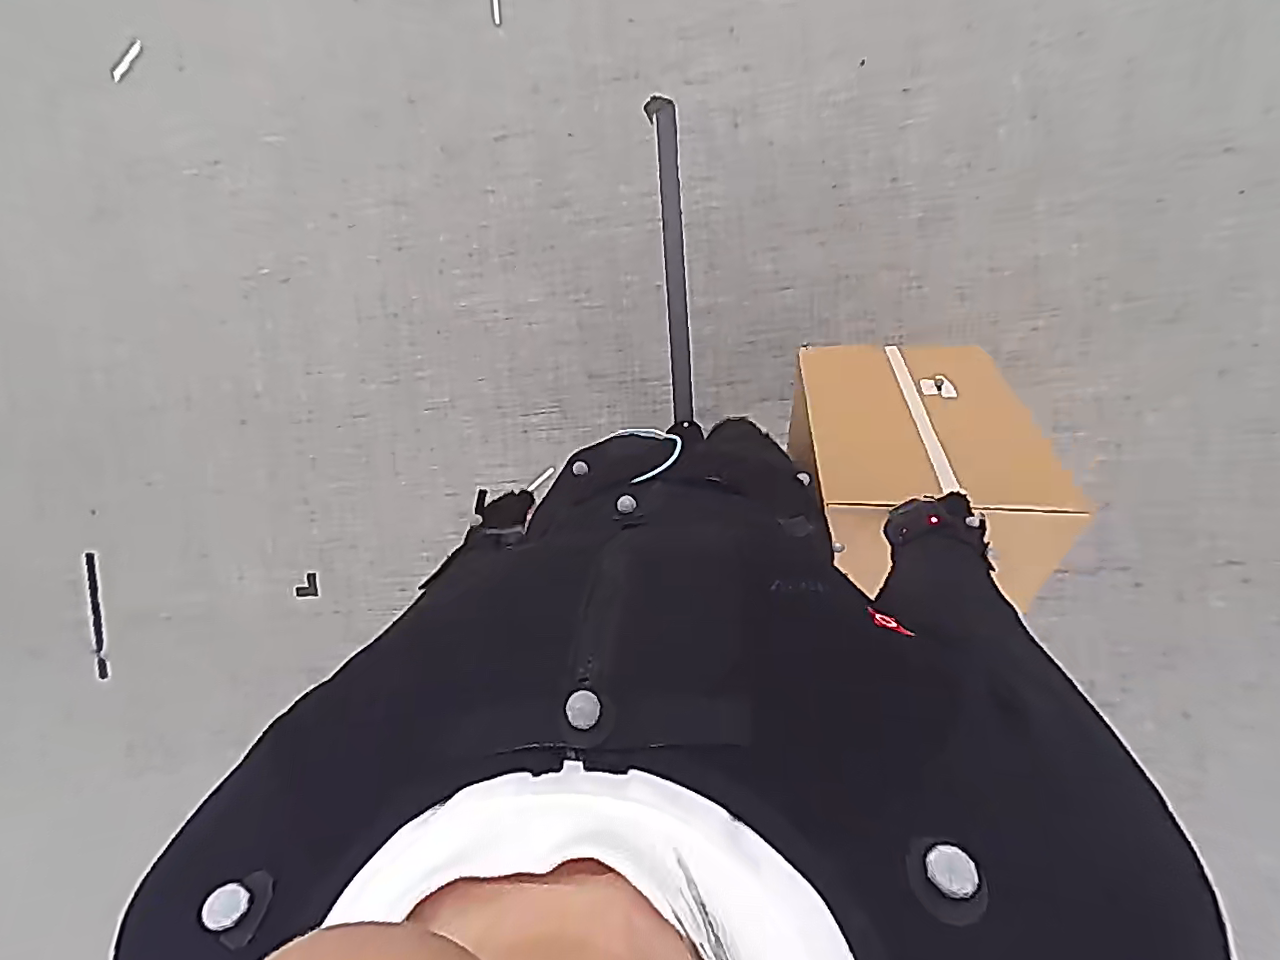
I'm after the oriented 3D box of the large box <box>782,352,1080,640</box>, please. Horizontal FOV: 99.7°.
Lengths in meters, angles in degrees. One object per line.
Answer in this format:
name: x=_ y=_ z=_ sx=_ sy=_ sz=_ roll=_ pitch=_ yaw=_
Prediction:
large box: x=0.427 y=0.017 z=0.928 sx=0.320 sy=0.408 sz=0.320 roll=3 pitch=131 yaw=7
